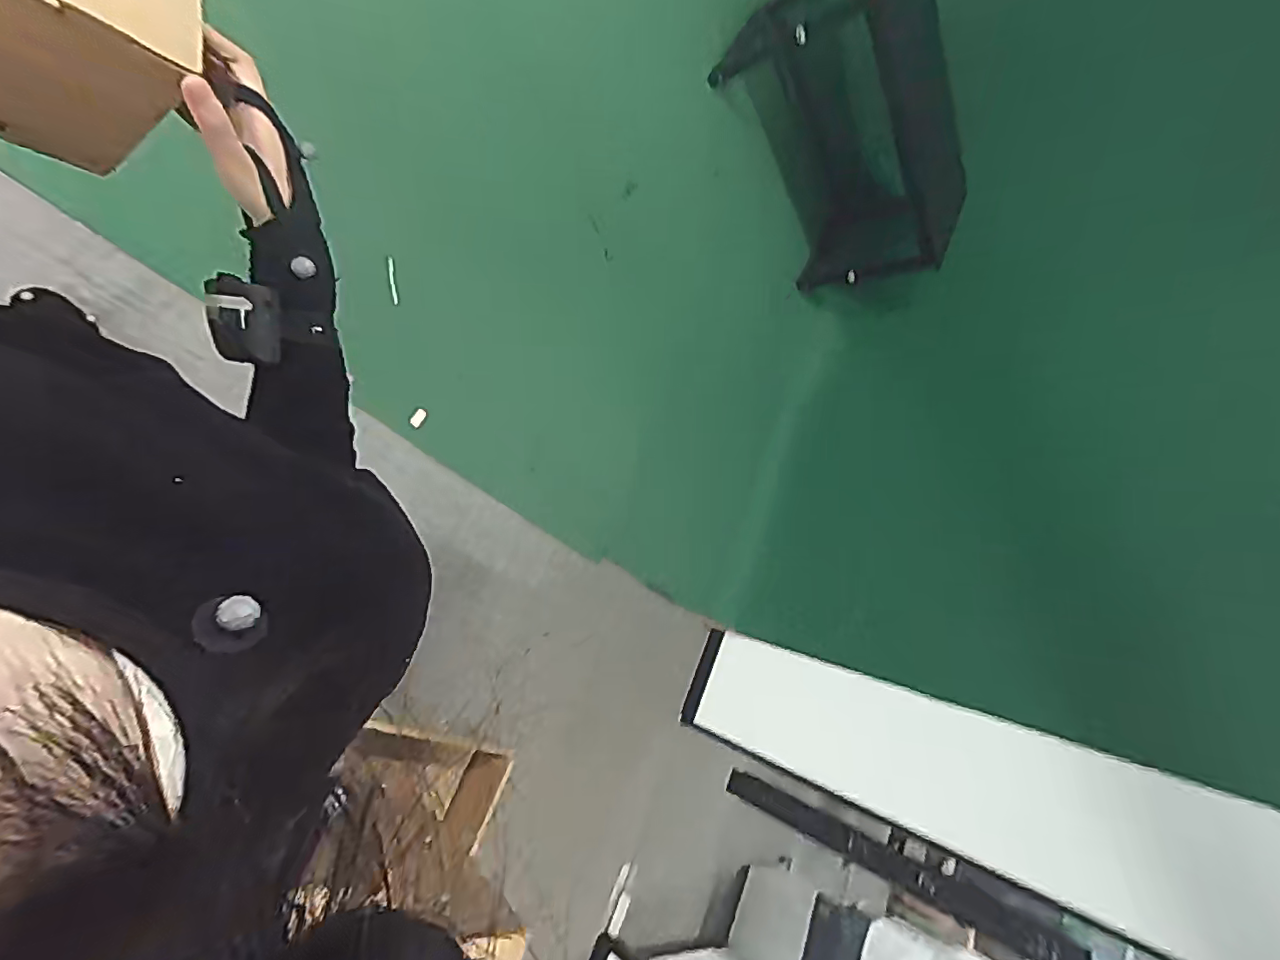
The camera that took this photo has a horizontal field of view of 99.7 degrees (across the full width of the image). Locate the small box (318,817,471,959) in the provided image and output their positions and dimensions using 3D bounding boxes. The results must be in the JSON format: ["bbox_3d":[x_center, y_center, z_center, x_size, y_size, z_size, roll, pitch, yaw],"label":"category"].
[{"bbox_3d":[-0.436,0.714,0.941,0.179,0.176,0.168,33,71,-42],"label":"small box"}]

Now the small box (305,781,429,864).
[{"bbox_3d":[-0.550,0.714,1.059,0.179,0.176,0.168,34,71,-40],"label":"small box"}]

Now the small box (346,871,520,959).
[{"bbox_3d":[-0.324,0.730,0.823,0.179,0.176,0.168,37,69,-40],"label":"small box"}]
